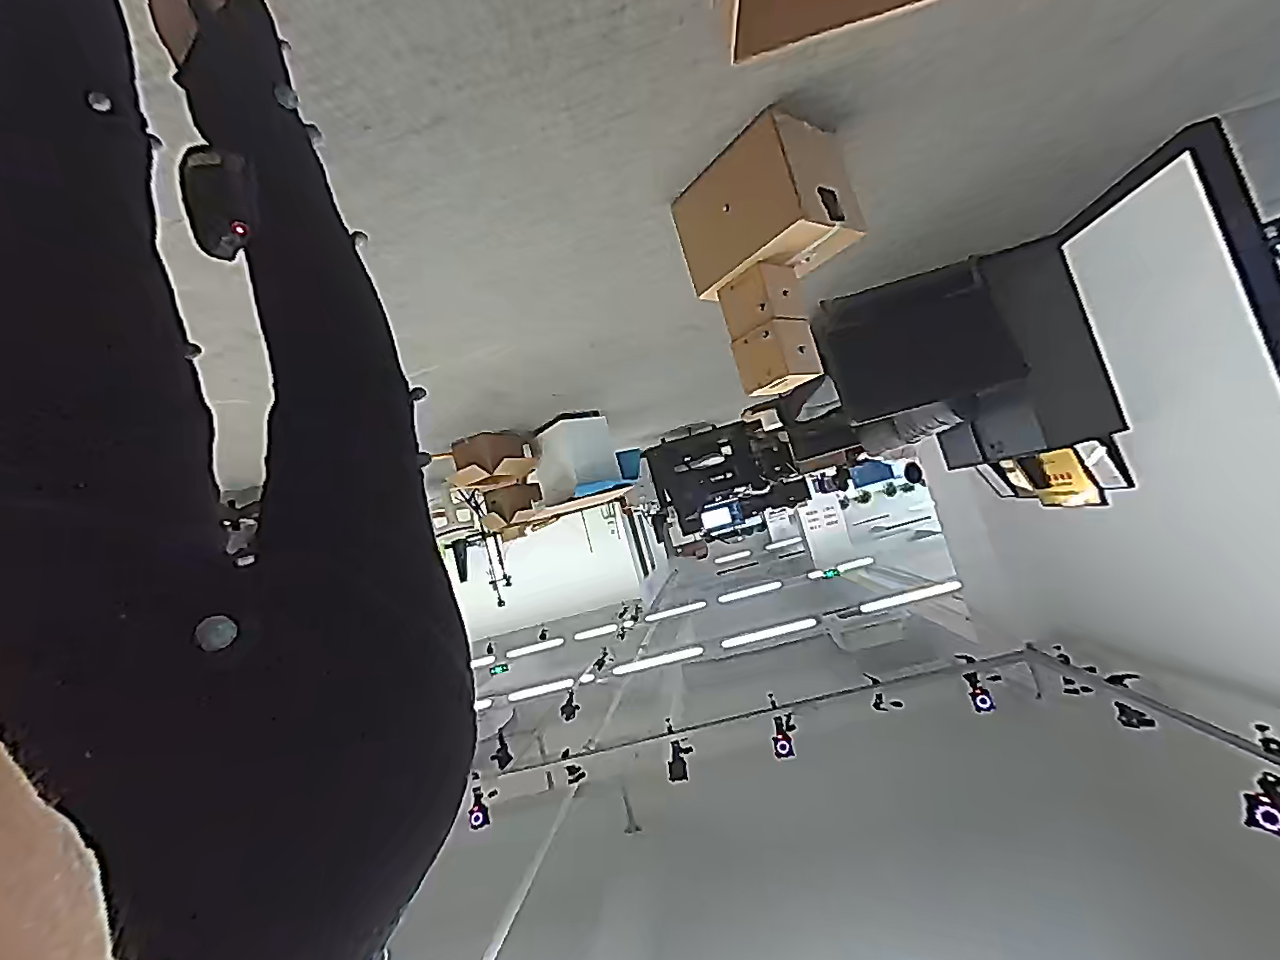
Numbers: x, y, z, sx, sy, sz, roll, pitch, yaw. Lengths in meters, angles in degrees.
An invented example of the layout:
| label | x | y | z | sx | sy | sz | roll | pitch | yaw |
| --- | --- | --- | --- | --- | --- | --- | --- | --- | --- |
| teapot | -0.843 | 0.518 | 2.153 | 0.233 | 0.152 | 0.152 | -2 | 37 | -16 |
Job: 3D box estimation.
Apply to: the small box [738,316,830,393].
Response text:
| label | x | y | z | sx | sy | sz | roll | pitch | yaw |
| --- | --- | --- | --- | --- | --- | --- | --- | --- | --- |
| small box | 0.415 | -0.366 | 1.576 | 0.179 | 0.176 | 0.168 | -12 | 174 | -38 |

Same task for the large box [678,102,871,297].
| label | x | y | z | sx | sy | sz | roll | pitch | yaw |
| --- | --- | --- | --- | --- | --- | --- | --- | --- | --- |
| large box | 0.375 | -0.782 | 1.577 | 0.320 | 0.320 | 0.408 | -13 | 173 | -37 |
